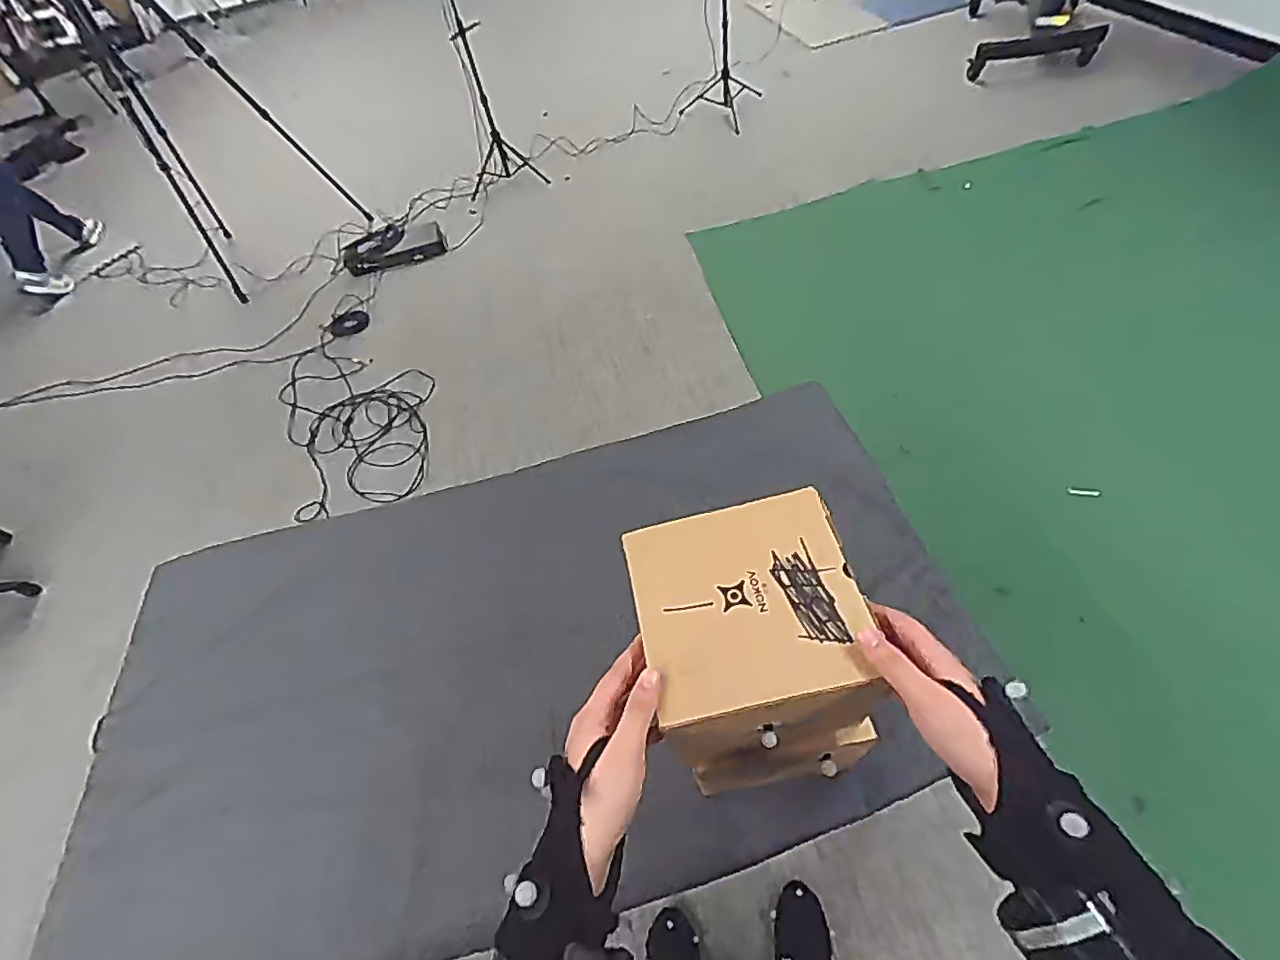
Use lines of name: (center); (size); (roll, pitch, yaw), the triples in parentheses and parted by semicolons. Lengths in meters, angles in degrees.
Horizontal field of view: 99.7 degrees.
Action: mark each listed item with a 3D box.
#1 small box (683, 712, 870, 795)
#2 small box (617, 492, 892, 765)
small box: (0.127, 0.240, 0.605); (0.179, 0.176, 0.168); (-12, 53, 2)
small box: (0.088, 0.138, 0.481); (0.179, 0.176, 0.168); (-14, 53, 2)
